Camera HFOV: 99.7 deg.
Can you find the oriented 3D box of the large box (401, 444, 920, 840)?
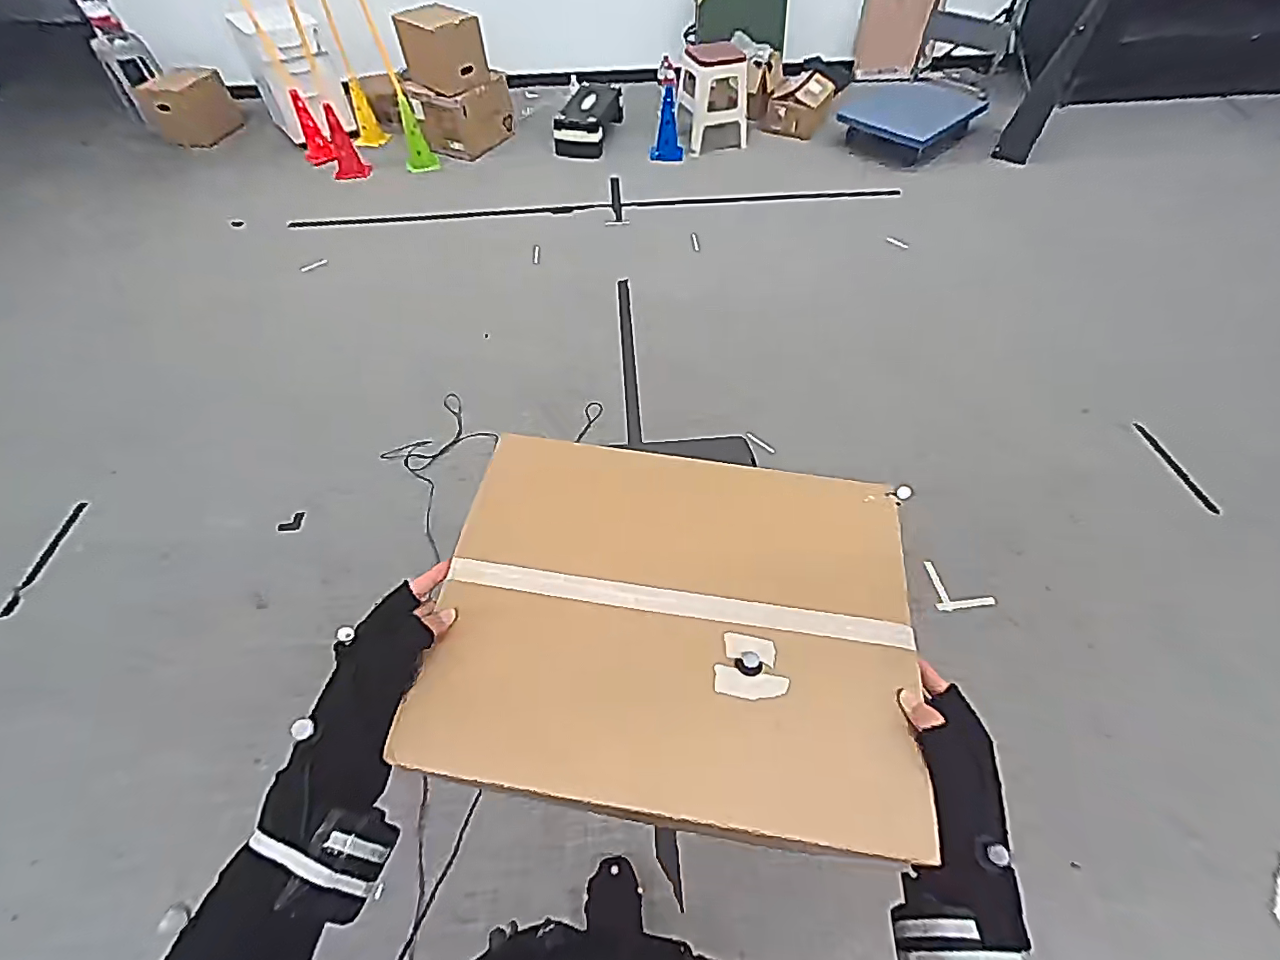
[{"bbox_3d":[0.026,0.191,0.609,0.408,0.320,0.320,8,57,4],"label":"large box"}]
